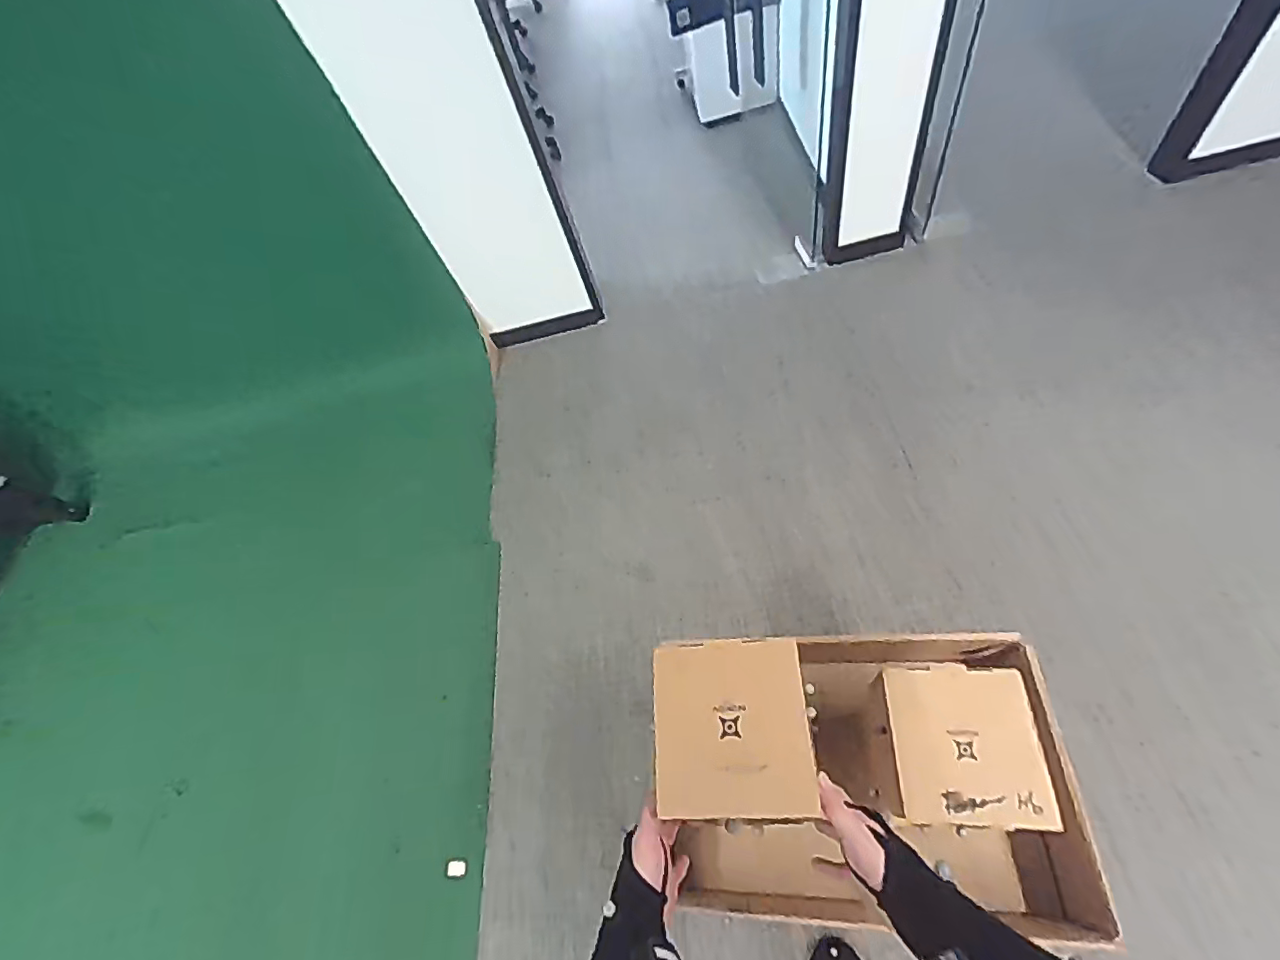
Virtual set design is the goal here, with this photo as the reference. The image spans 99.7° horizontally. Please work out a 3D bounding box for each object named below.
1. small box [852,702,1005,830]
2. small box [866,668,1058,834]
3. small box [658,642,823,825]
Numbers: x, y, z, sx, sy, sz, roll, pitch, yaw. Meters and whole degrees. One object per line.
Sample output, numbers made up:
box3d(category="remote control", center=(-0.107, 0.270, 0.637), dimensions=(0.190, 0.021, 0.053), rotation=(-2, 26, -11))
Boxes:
box3d(category="small box", center=(0.447, 0.449, 0.868), dimensions=(0.168, 0.176, 0.179), rotation=(-4, 61, 11))
box3d(category="small box", center=(0.413, 0.363, 0.732), dimensions=(0.168, 0.176, 0.179), rotation=(-2, 61, 12))
box3d(category="small box", center=(0.115, 0.303, 0.644), dimensions=(0.168, 0.176, 0.179), rotation=(-6, 60, 11))
